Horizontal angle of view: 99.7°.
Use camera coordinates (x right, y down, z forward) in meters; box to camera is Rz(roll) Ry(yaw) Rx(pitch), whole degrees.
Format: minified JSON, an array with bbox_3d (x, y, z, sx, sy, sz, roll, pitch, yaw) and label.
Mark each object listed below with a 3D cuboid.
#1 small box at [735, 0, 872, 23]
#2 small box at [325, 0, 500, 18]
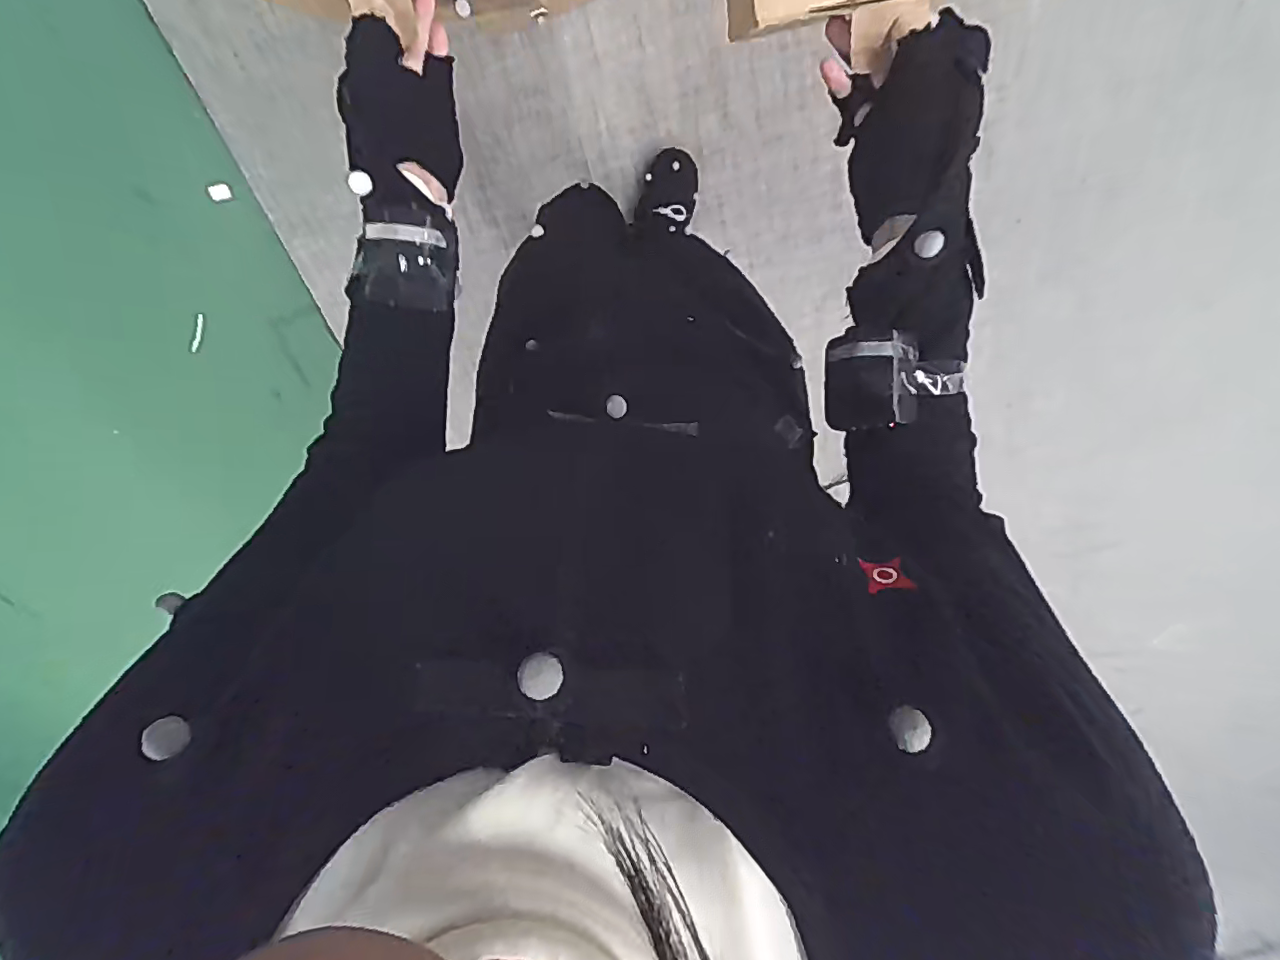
[{"bbox_3d":[0.139,-0.402,0.325,0.168,0.176,0.179,-7,126,8],"label":"small box"},{"bbox_3d":[-0.179,-0.456,0.379,0.168,0.176,0.179,-3,120,9],"label":"small box"}]
